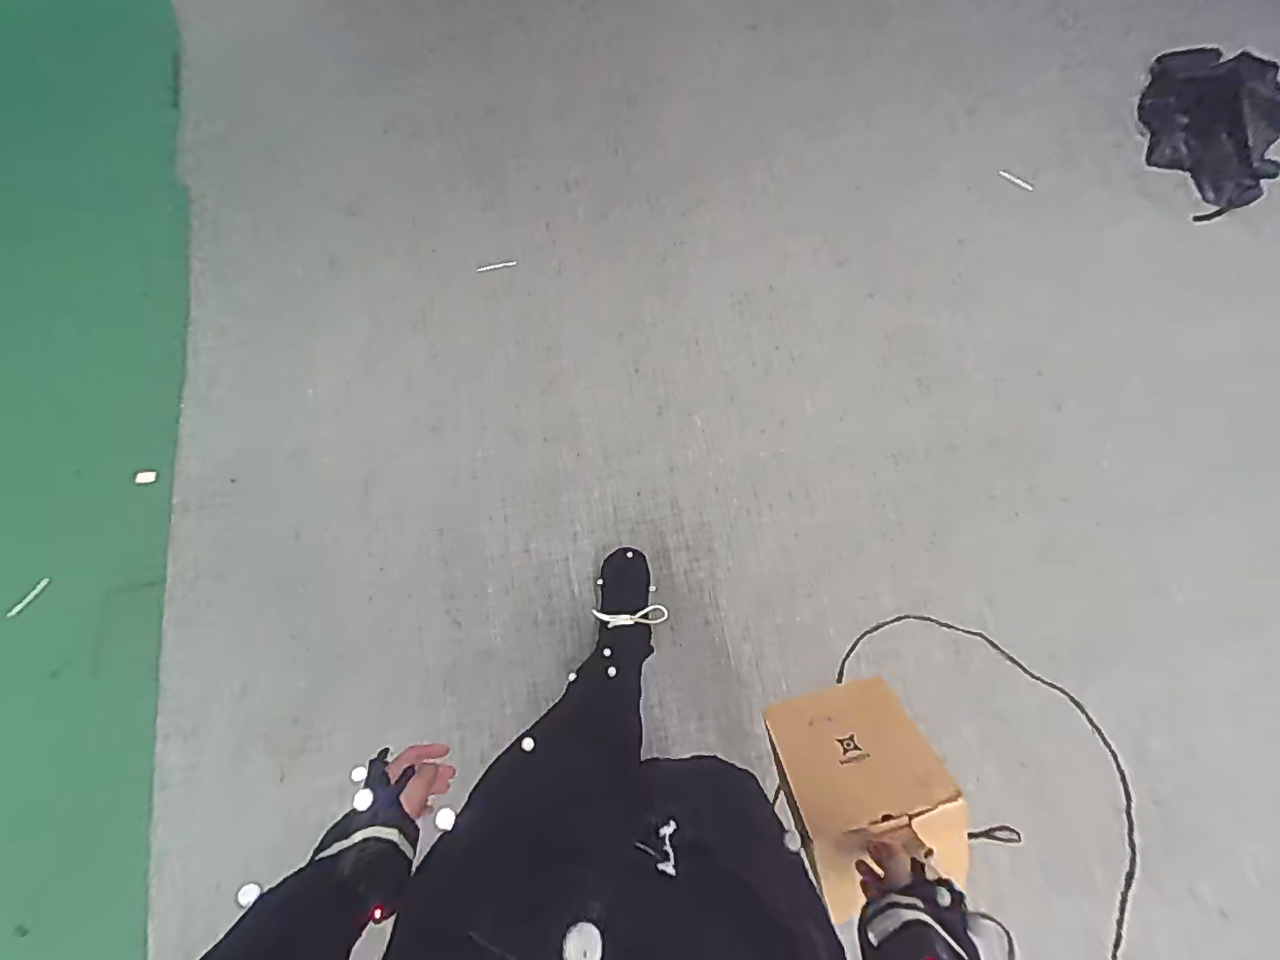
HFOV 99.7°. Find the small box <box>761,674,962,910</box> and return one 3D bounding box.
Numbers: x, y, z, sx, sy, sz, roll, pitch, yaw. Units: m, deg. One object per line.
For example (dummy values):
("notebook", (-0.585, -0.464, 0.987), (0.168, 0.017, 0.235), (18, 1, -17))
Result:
("small box", (0.264, 0.378, 0.658), (0.168, 0.179, 0.176), (-16, 114, 1))
